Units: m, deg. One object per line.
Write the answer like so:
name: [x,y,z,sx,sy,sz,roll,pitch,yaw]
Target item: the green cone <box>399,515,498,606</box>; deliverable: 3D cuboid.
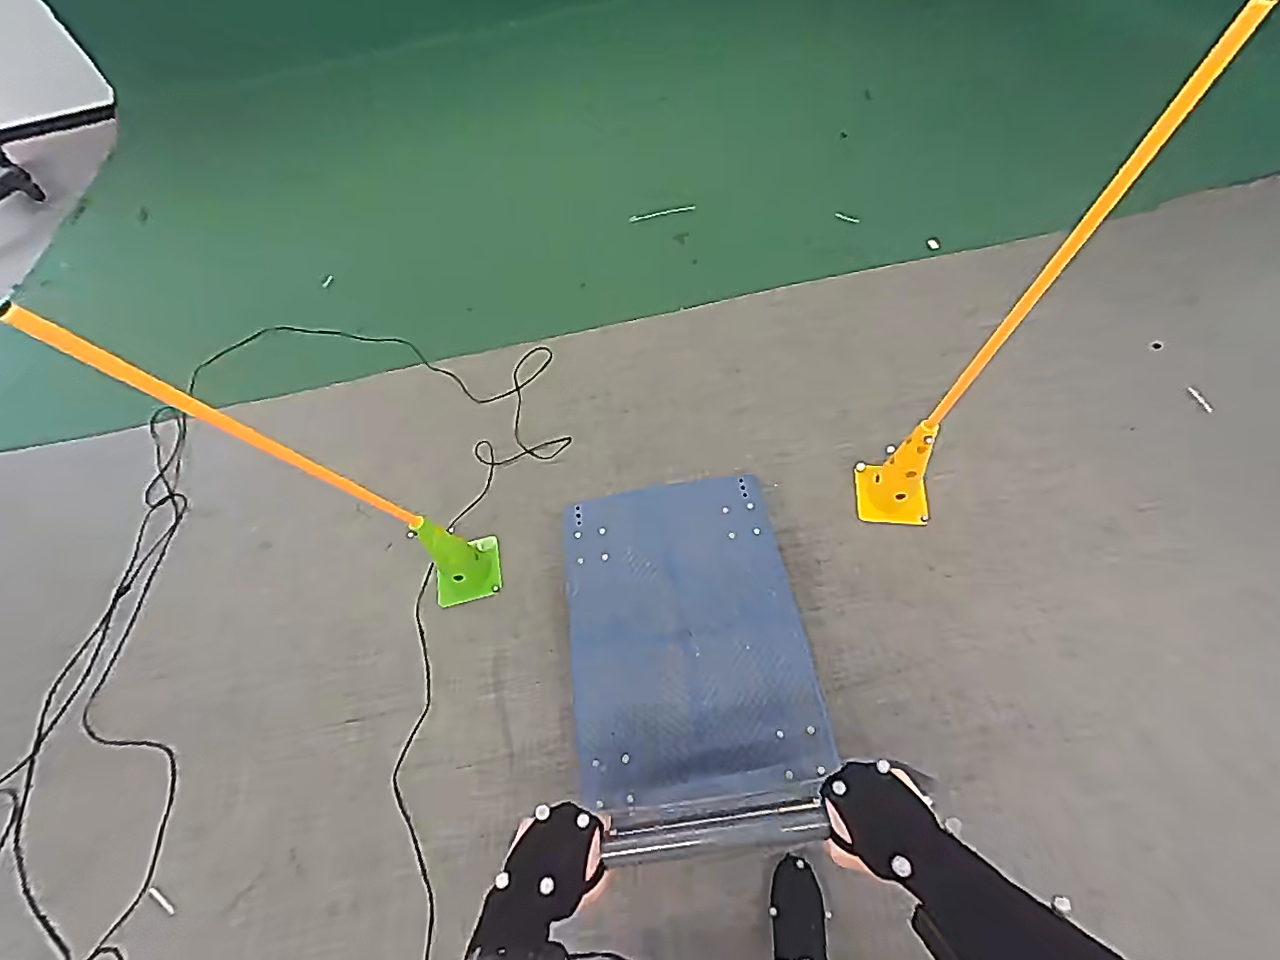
green cone: [-0.568,0.191,1.535,0.202,0.368,0.200,-16,58,0]
